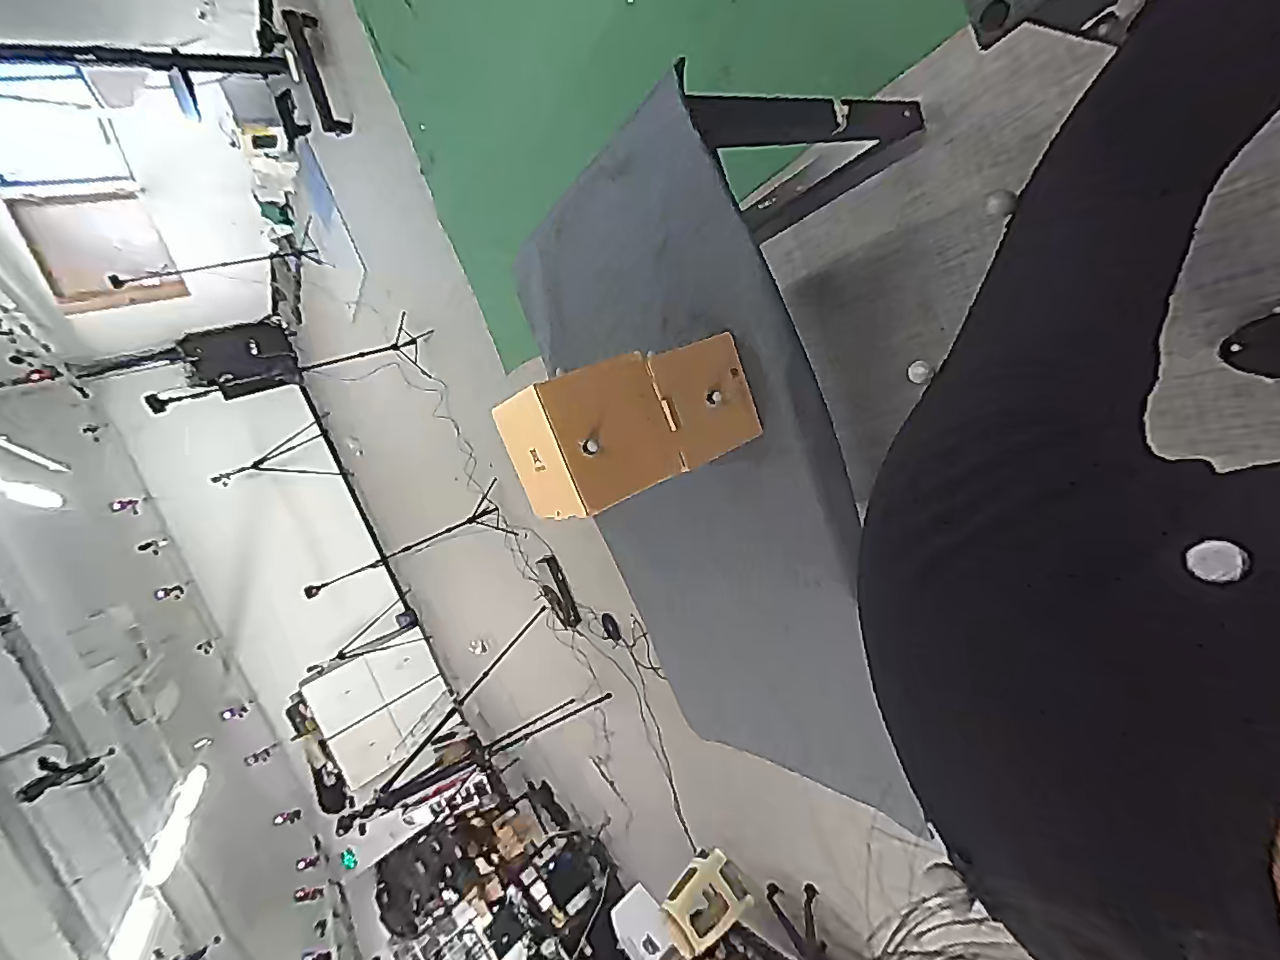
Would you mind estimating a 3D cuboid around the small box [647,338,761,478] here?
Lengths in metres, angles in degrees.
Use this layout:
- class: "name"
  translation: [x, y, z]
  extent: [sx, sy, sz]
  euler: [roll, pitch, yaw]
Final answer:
- class: "small box"
  translation: [0.066, -0.107, 0.843]
  extent: [0.179, 0.176, 0.168]
  euler: [-7, 106, 56]

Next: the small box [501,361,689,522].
- class: "small box"
  translation: [-0.063, -0.055, 0.756]
  extent: [0.168, 0.176, 0.179]
  euler: [-10, 104, 57]
